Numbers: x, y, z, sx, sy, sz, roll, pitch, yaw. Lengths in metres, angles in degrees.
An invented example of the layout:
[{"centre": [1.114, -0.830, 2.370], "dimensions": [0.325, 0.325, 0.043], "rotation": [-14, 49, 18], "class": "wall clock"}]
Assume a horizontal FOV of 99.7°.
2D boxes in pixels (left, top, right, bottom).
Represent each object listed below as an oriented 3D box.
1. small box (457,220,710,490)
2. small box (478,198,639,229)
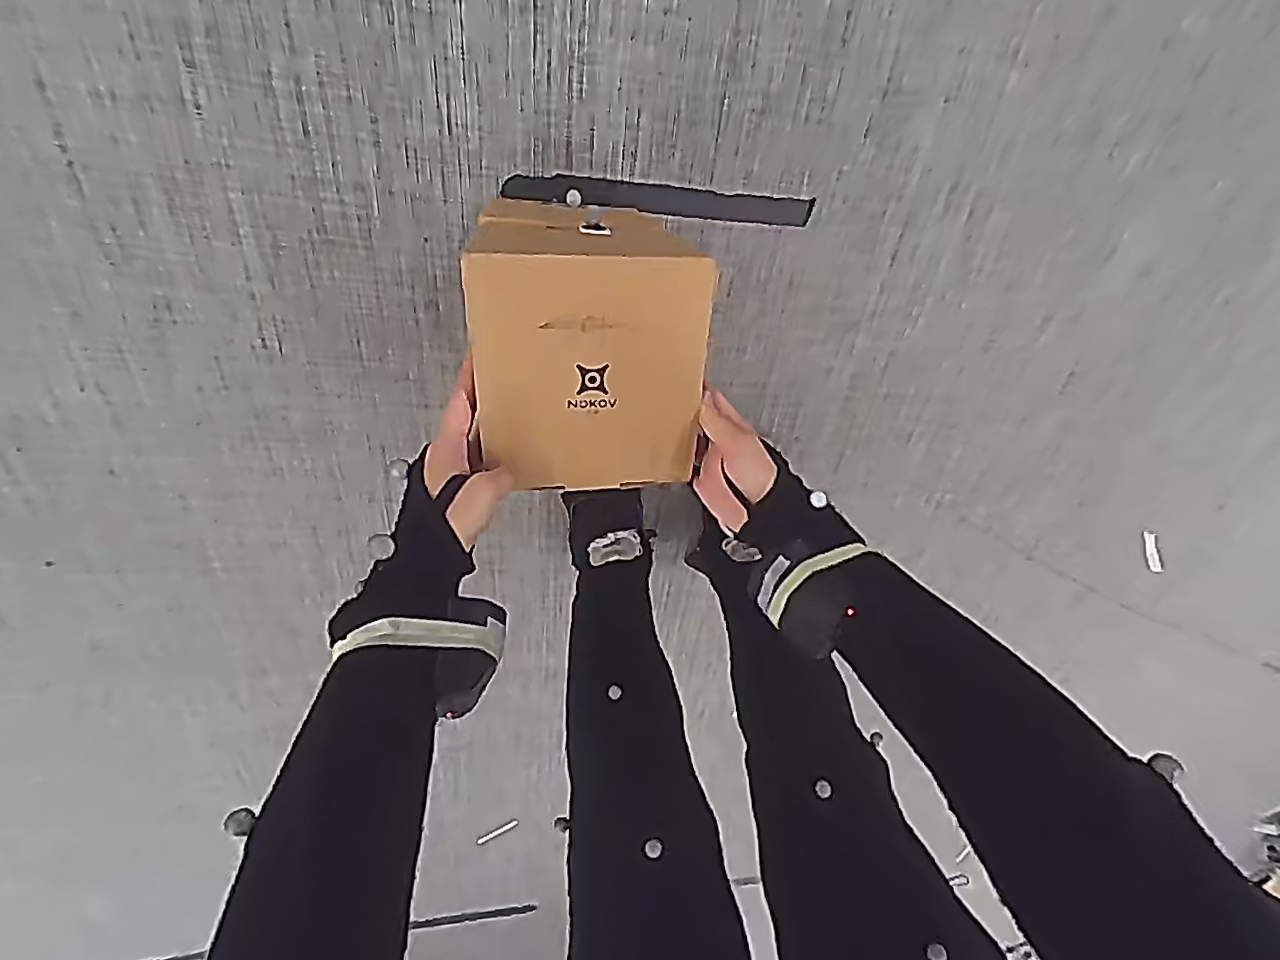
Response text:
[{"centre": [-0.049, -0.112, 0.455], "dimensions": [0.168, 0.176, 0.179], "rotation": [-4, 121, -10], "class": "small box"}, {"centre": [-0.080, -0.197, 0.592], "dimensions": [0.168, 0.176, 0.179], "rotation": [-1, 122, -10], "class": "small box"}]
